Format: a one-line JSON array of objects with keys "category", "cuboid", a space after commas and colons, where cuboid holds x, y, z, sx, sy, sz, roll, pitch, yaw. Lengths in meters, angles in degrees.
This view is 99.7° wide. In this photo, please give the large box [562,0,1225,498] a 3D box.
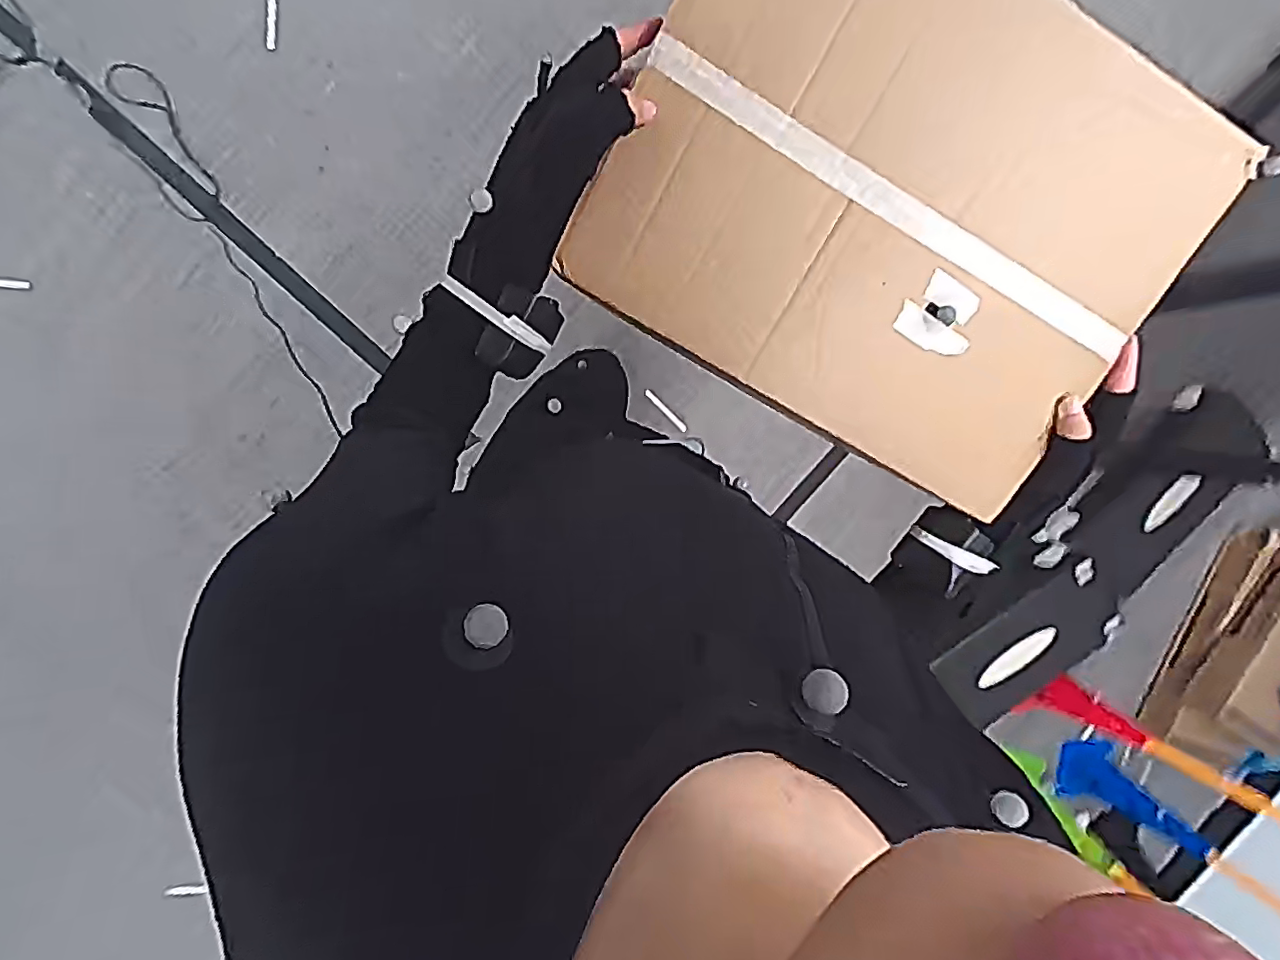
[{"category": "large box", "cuboid": [0.179, -0.238, 0.543, 0.408, 0.320, 0.320, 28, 104, -8]}]
